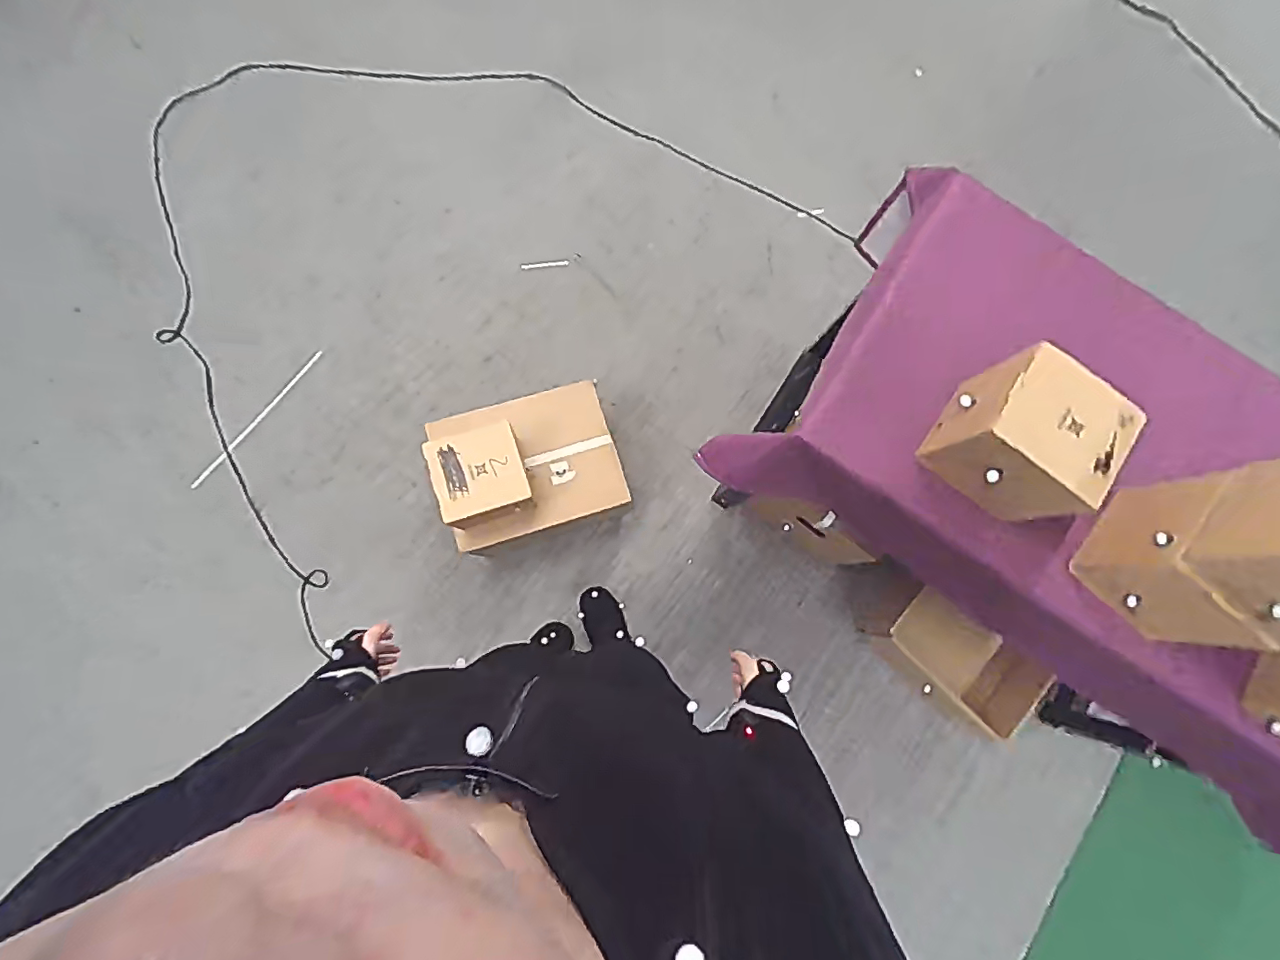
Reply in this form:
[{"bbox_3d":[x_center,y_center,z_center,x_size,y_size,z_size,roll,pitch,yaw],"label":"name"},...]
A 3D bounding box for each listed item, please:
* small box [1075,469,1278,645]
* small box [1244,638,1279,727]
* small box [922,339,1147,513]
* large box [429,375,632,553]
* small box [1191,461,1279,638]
[{"bbox_3d":[0.803,0.111,0.793,0.168,0.176,0.179,42,80,3],"label":"small box"},{"bbox_3d":[1.053,0.313,0.779,0.168,0.176,0.179,38,78,2],"label":"small box"},{"bbox_3d":[0.564,-0.066,0.799,0.179,0.176,0.168,38,80,2],"label":"small box"},{"bbox_3d":[-0.266,-0.025,1.387,0.408,0.320,0.320,-17,83,-9],"label":"large box"},{"bbox_3d":[0.824,0.079,0.633,0.168,0.176,0.179,43,80,3],"label":"small box"}]
